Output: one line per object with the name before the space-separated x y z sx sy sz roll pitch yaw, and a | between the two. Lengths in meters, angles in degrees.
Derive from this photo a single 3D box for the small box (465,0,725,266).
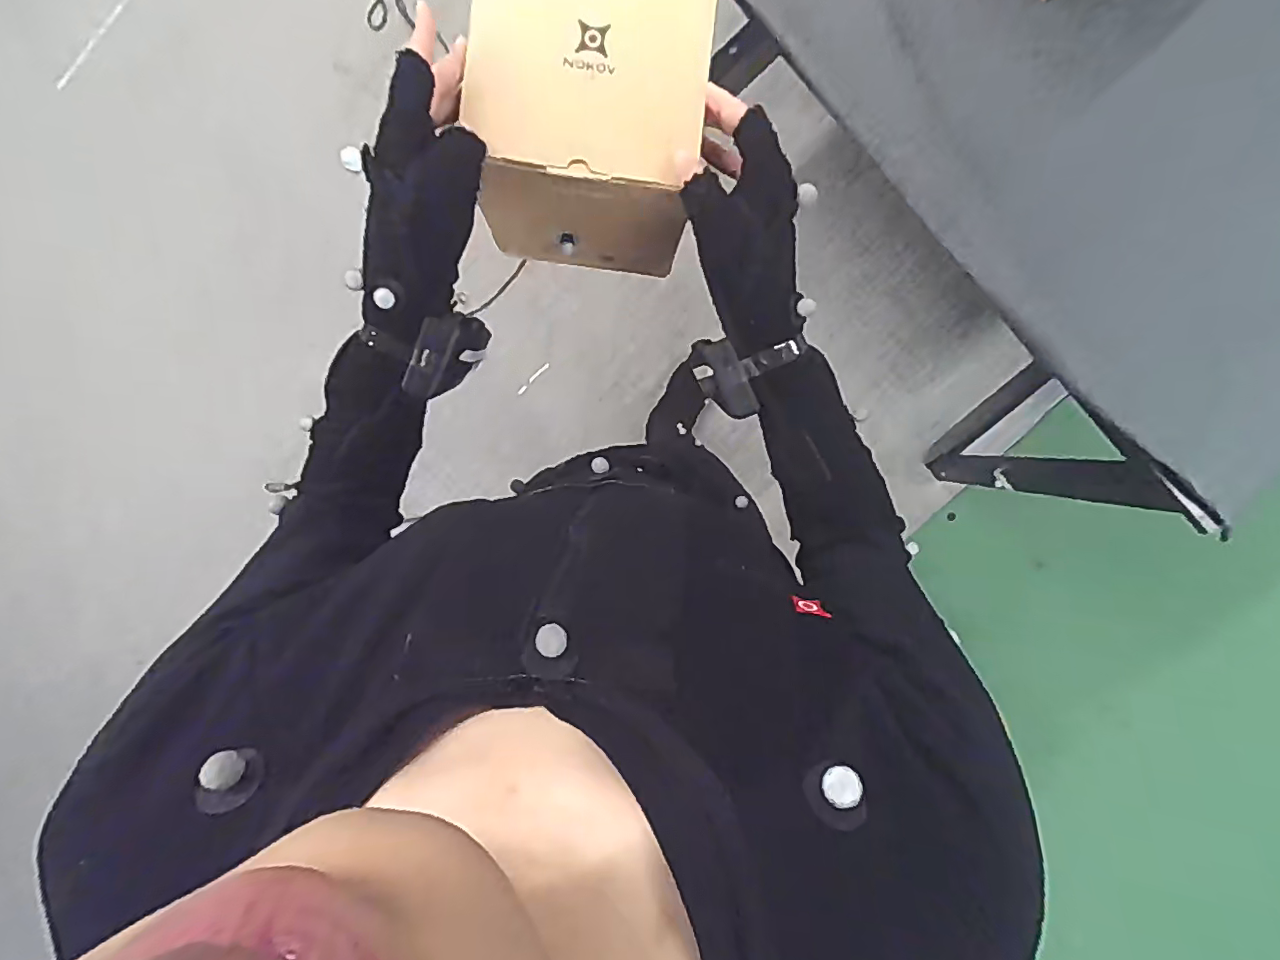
small box | -0.034 -0.302 0.446 0.168 0.176 0.179 6 93 -5
